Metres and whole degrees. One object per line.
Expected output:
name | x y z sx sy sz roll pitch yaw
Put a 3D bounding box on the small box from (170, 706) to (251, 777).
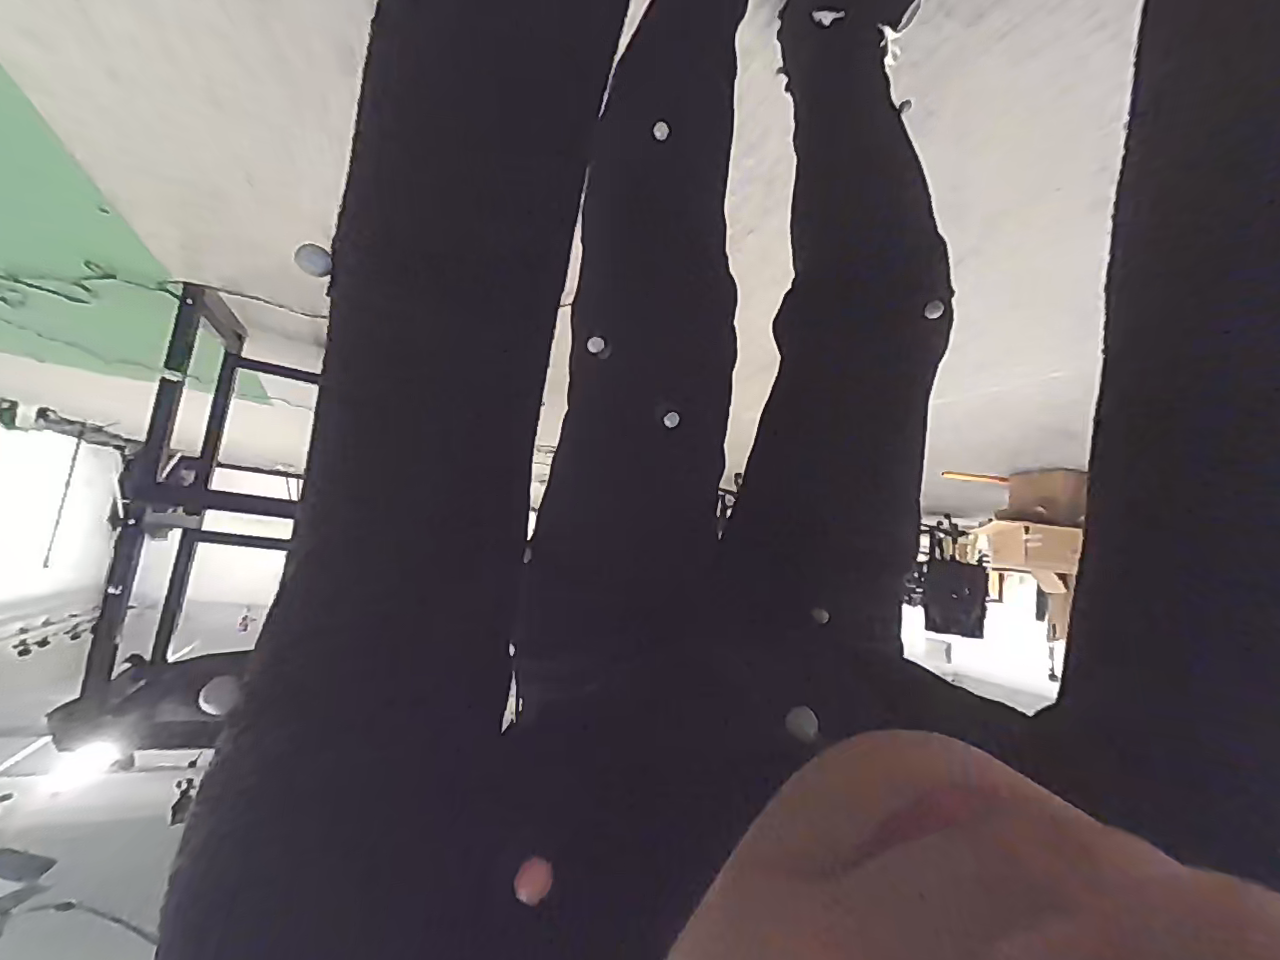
small box | -1.451 0.882 1.842 0.179 0.176 0.168 12 173 -26
